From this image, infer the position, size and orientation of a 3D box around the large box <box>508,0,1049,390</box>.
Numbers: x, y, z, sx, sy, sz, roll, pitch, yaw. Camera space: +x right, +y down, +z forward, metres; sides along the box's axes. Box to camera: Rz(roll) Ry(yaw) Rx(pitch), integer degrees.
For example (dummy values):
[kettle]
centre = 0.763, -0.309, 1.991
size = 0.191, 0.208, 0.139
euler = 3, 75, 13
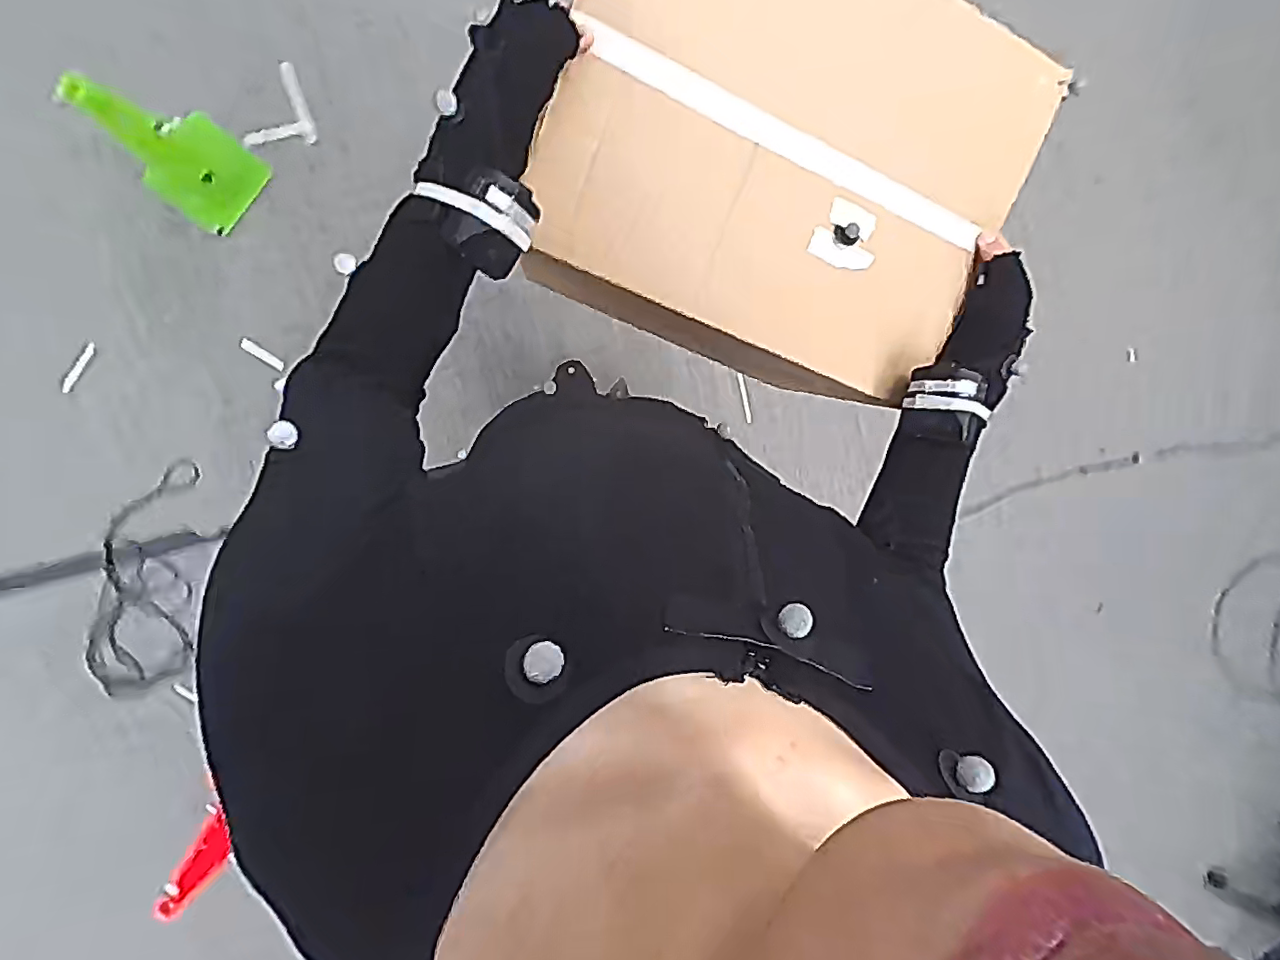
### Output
[large box]
centre = 0.100, -0.316, 0.594
size = 0.408, 0.320, 0.320
euler = 18, 101, -13

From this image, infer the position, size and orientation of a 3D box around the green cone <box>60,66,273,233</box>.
[green cone]
centre = -0.951, -0.679, 1.065
size = 0.202, 0.368, 0.200
euler = 38, 90, -10
